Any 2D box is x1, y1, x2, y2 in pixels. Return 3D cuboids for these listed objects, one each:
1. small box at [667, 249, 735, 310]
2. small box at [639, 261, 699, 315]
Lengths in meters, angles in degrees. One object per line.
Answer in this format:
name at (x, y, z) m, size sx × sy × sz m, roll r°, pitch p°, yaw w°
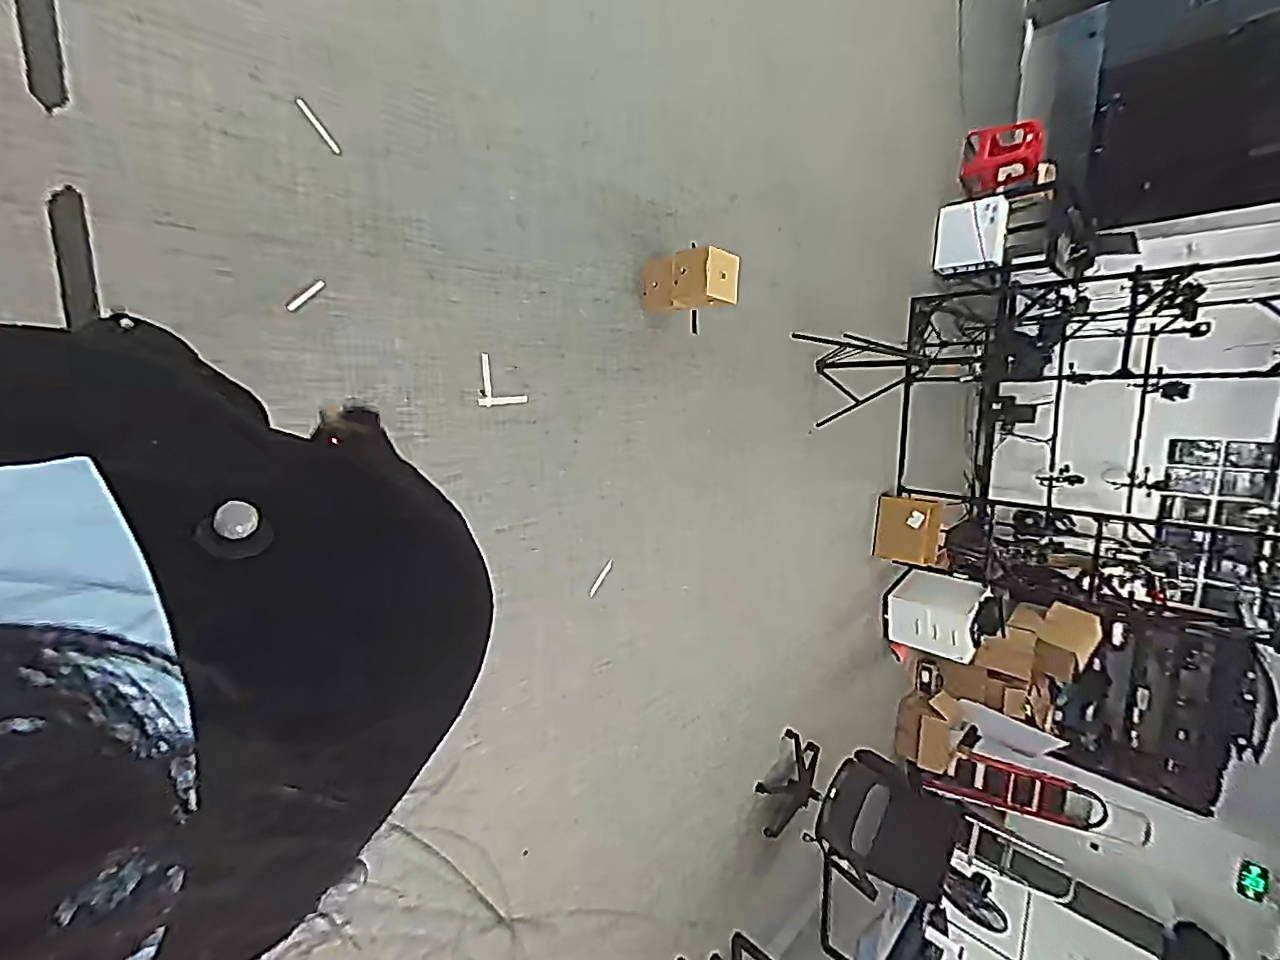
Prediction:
small box at (0.219, -0.714, 1.944) m, size 0.179 × 0.176 × 0.168 m, roll -3°, pitch 98°, yaw -44°
small box at (0.107, -0.726, 2.063) m, size 0.179 × 0.176 × 0.168 m, roll -13°, pitch 105°, yaw -44°
